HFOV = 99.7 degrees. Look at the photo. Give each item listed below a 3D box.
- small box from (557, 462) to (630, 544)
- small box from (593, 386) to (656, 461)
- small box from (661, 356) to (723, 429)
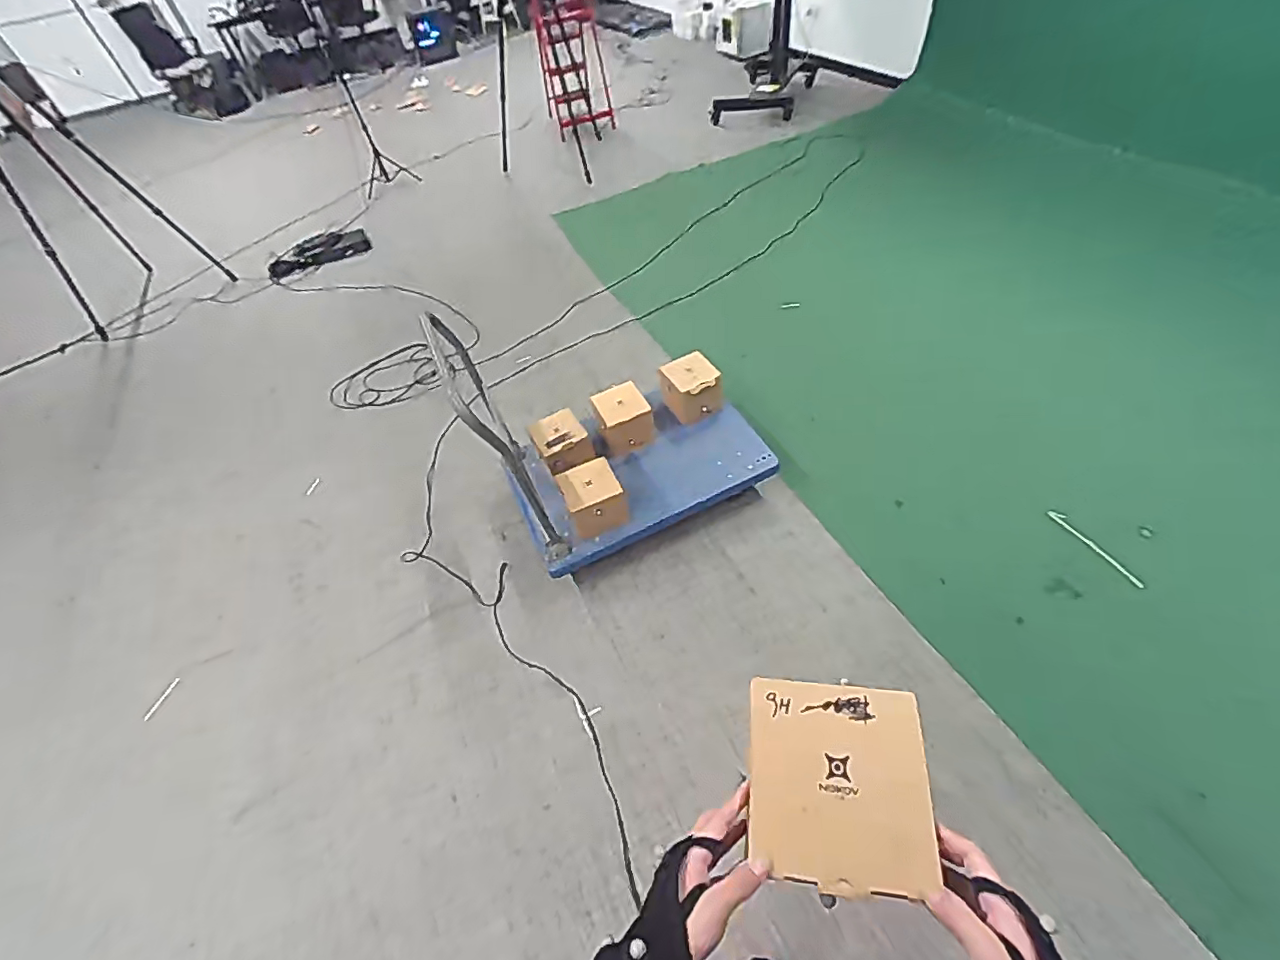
[{"bbox_3d":[-0.145,0.078,1.739,0.179,0.176,0.168,-22,51,-10],"label":"small box"},{"bbox_3d":[-0.053,-0.203,1.956,0.168,0.176,0.179,-24,53,-11],"label":"small box"},{"bbox_3d":[0.195,-0.323,2.009,0.168,0.176,0.179,-26,52,-10],"label":"small box"}]
